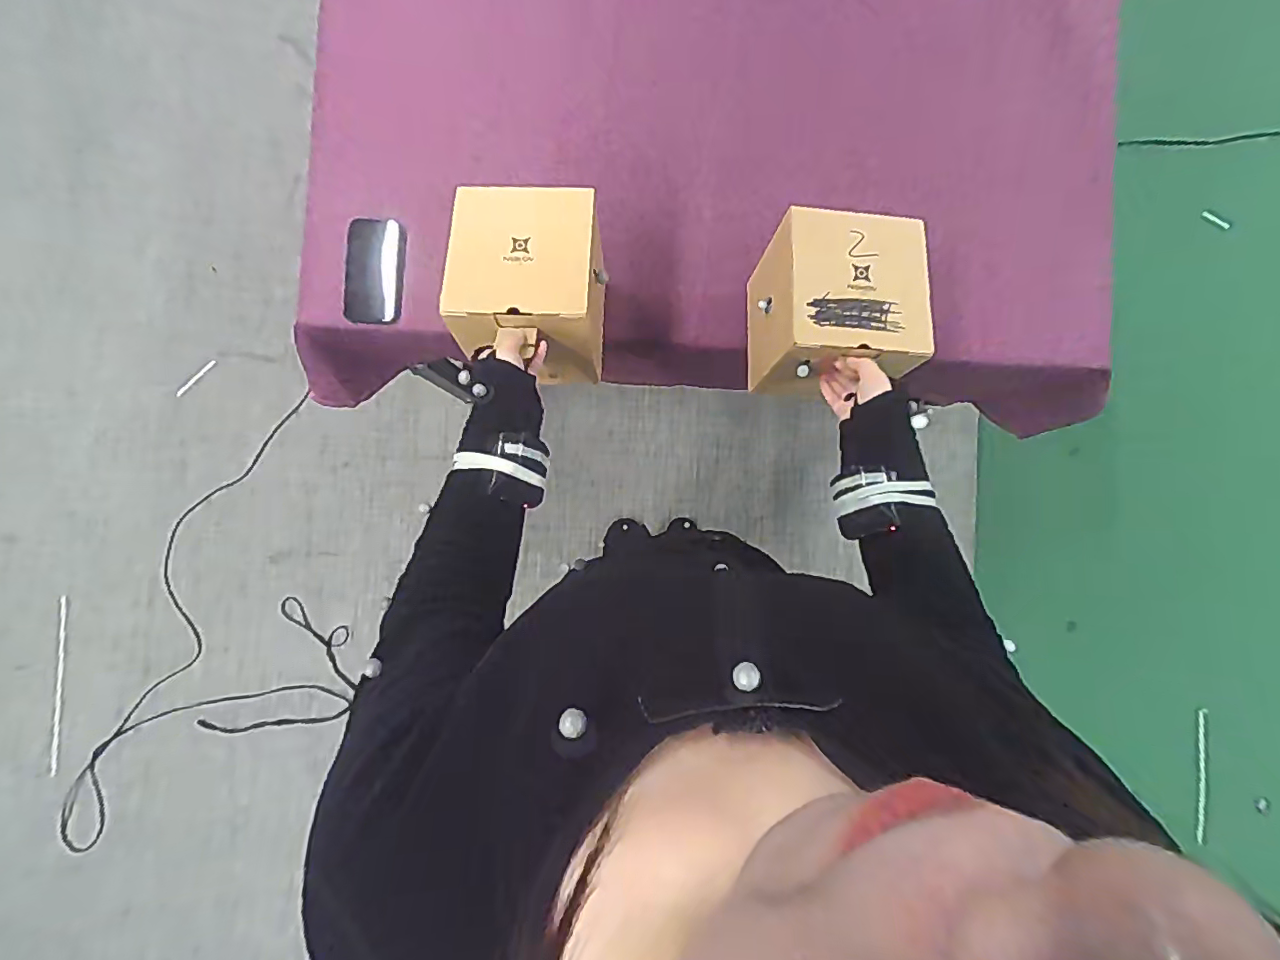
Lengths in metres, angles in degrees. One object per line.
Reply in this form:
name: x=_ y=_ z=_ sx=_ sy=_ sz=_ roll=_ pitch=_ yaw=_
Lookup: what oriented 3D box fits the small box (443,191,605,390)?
small box: x=-0.134 y=-0.235 z=0.694 sx=0.168 sy=0.176 sz=0.179 roll=2 pitch=74 yaw=0
